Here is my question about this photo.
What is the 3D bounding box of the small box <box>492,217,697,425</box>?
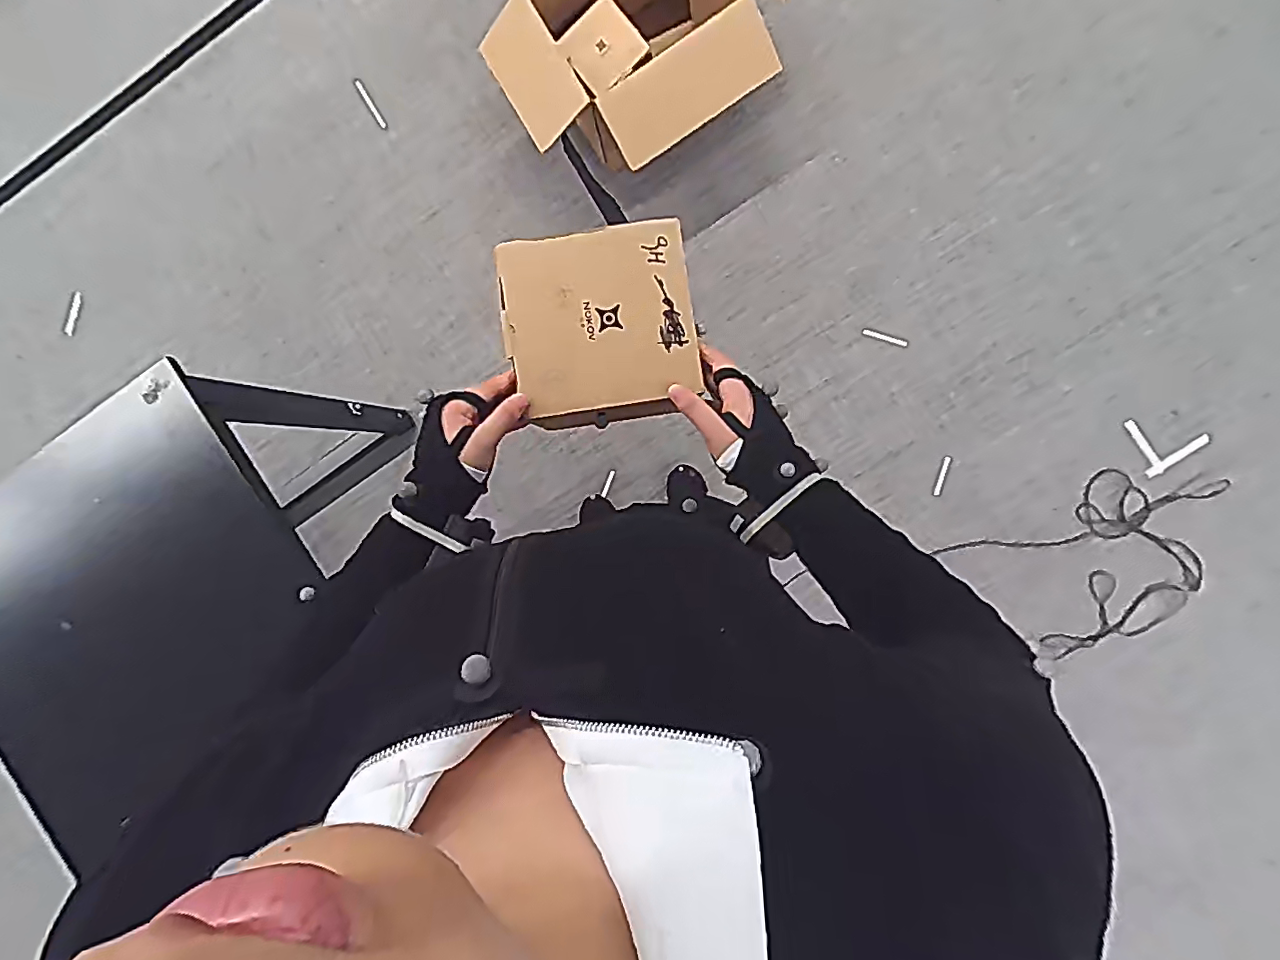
[{"bbox_3d":[-0.041,-0.155,0.585,0.179,0.176,0.168,-9,92,0],"label":"small box"}]

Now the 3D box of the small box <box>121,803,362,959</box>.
[{"bbox_3d":[-0.540,0.595,0.757,0.168,0.176,0.179,-33,90,6],"label":"small box"}]
